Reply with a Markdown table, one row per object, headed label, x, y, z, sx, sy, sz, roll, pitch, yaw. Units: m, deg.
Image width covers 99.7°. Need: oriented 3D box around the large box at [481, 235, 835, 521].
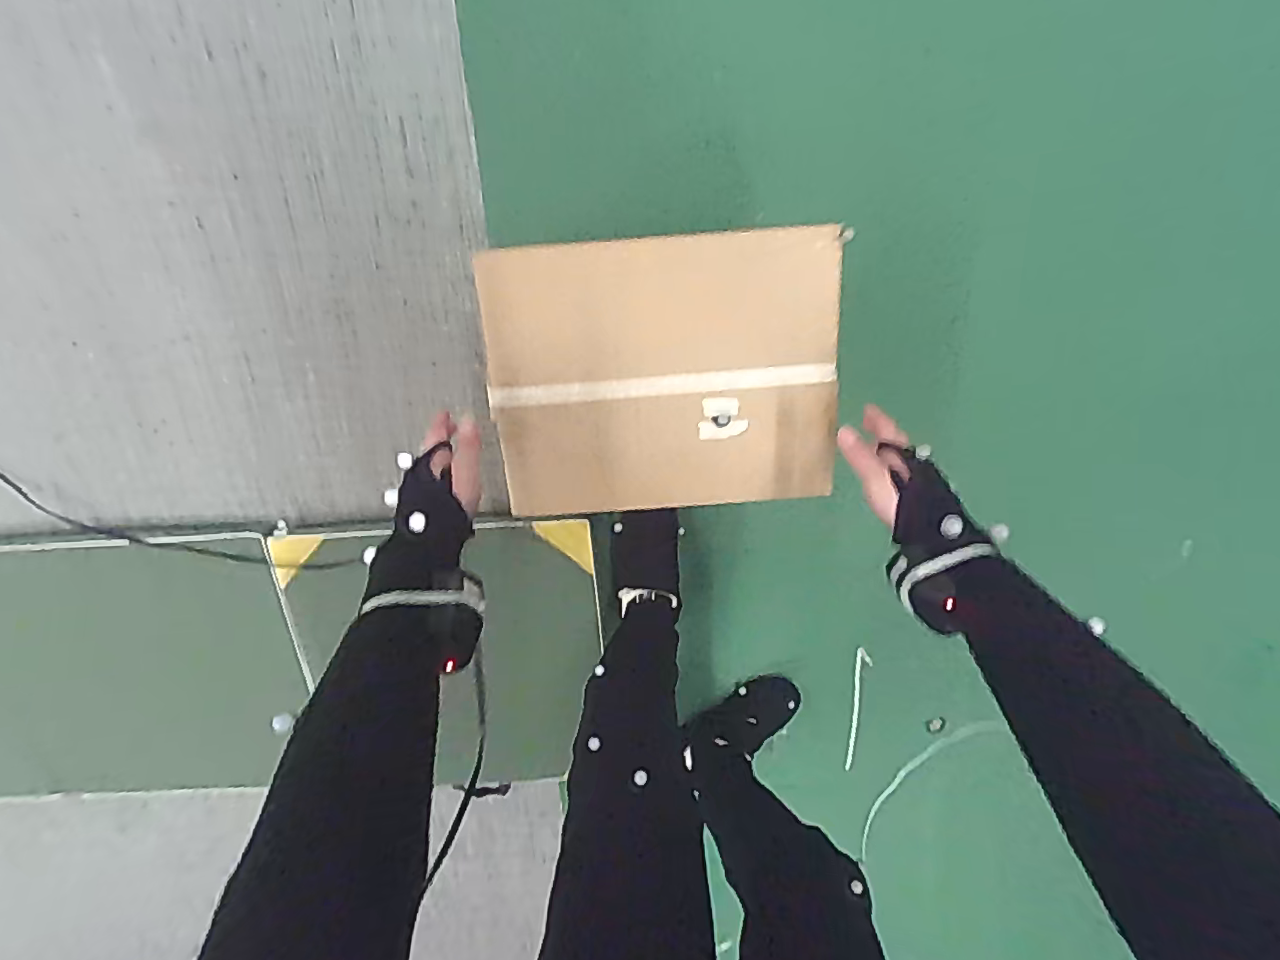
| label | x | y | z | sx | sy | sz | roll | pitch | yaw |
| --- | --- | --- | --- | --- | --- | --- | --- | --- | --- |
| large box | 0.027 | -0.153 | 0.787 | 0.408 | 0.320 | 0.320 | -4 | 108 | 0 |
